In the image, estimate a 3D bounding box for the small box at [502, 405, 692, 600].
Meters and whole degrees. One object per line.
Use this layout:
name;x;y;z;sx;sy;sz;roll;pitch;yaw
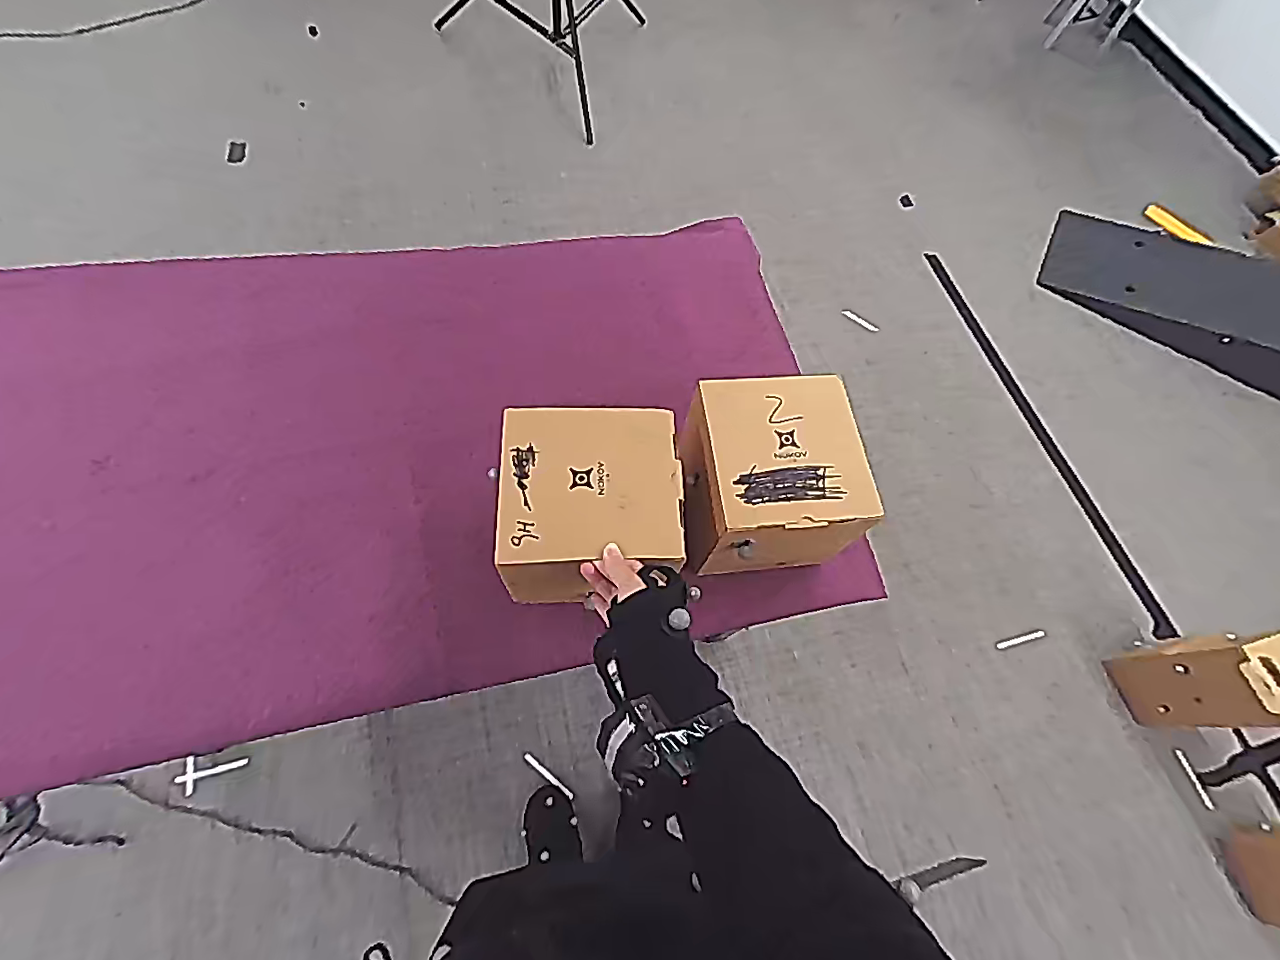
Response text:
small box;-0.051;0.033;0.594;0.179;0.176;0.168;0;66;-7

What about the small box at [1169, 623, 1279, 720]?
small box;1.361;0.434;1.216;0.179;0.176;0.168;-11;68;-13

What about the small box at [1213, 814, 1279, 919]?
small box;1.481;0.880;1.216;0.168;0.176;0.179;-7;68;-11

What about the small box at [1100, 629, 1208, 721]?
small box;1.341;0.495;1.368;0.168;0.176;0.179;-14;68;-14
